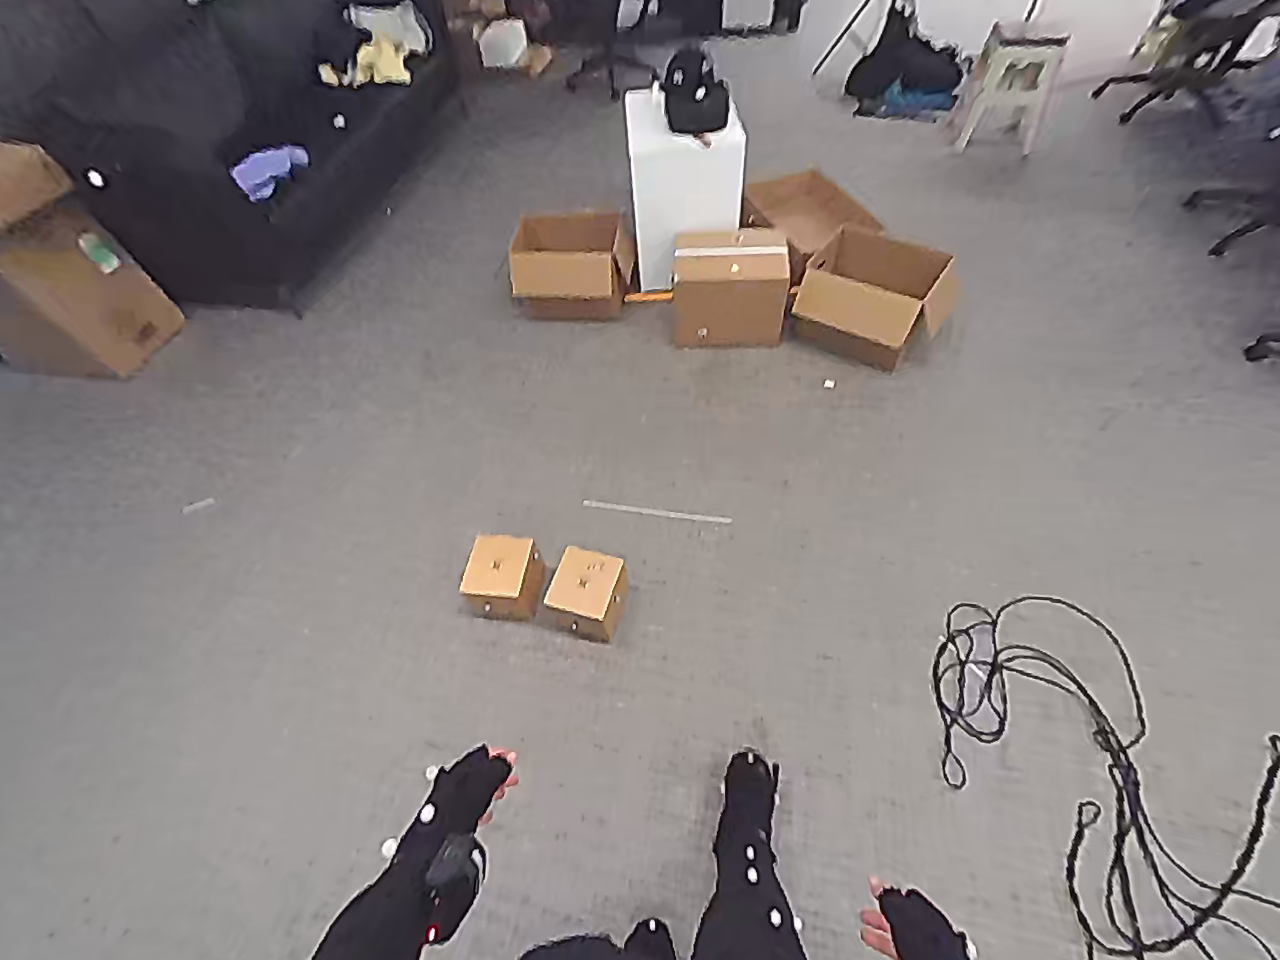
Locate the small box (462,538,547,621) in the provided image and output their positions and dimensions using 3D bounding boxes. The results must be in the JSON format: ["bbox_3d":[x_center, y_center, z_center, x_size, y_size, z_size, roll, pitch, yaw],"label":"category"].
[{"bbox_3d":[-0.368,0.282,1.511,0.168,0.176,0.179,3,54,8],"label":"small box"}]

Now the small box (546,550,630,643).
[{"bbox_3d":[-0.130,0.318,1.459,0.168,0.176,0.179,12,56,14],"label":"small box"}]
